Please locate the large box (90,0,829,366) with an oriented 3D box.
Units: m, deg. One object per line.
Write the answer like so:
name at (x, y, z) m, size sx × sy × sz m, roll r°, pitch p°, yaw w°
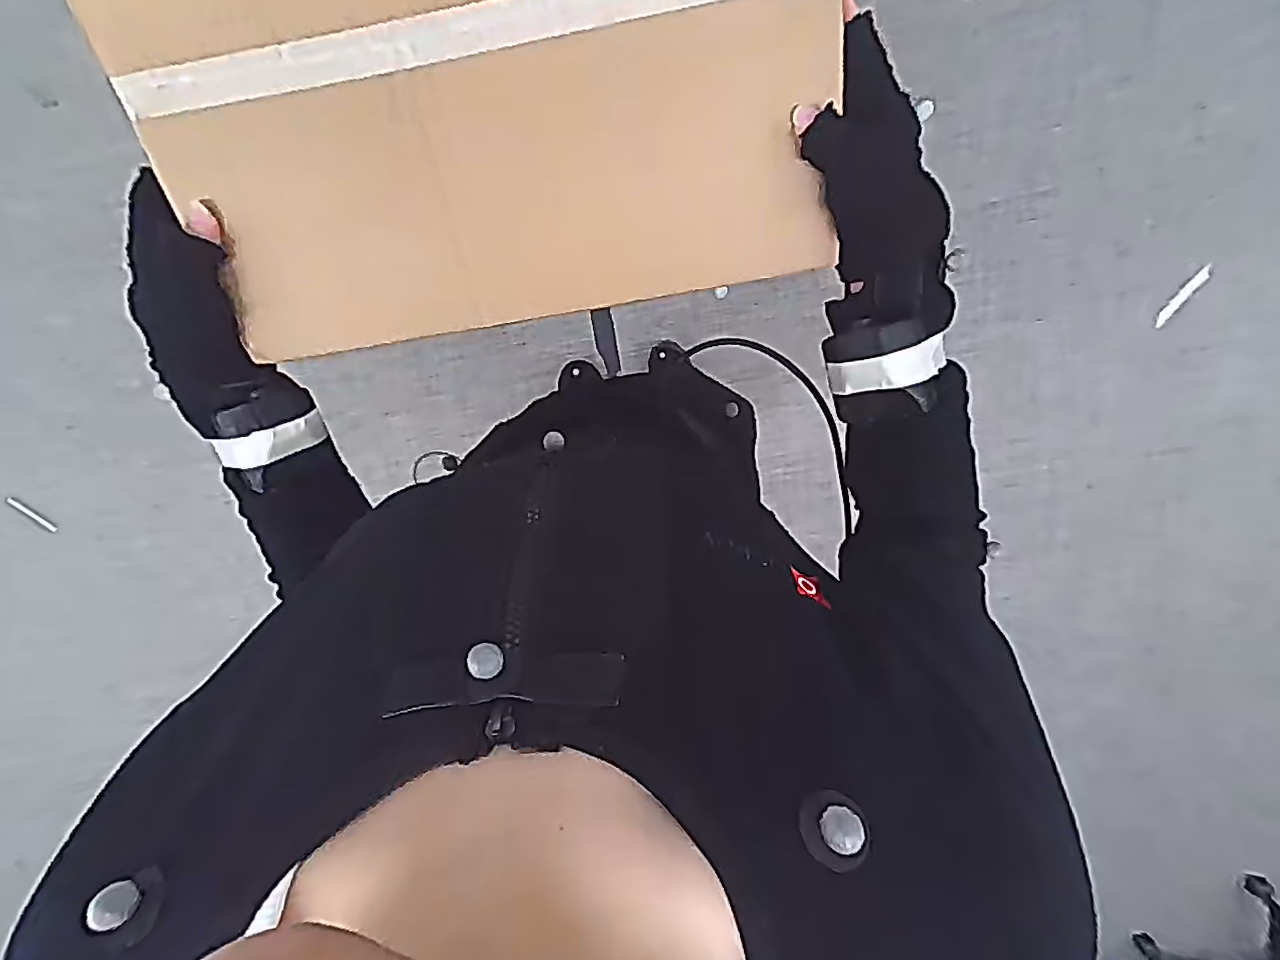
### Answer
large box at (-0.095, -0.316, 0.438) m, size 0.408 × 0.320 × 0.320 m, roll -9°, pitch 117°, yaw 3°
